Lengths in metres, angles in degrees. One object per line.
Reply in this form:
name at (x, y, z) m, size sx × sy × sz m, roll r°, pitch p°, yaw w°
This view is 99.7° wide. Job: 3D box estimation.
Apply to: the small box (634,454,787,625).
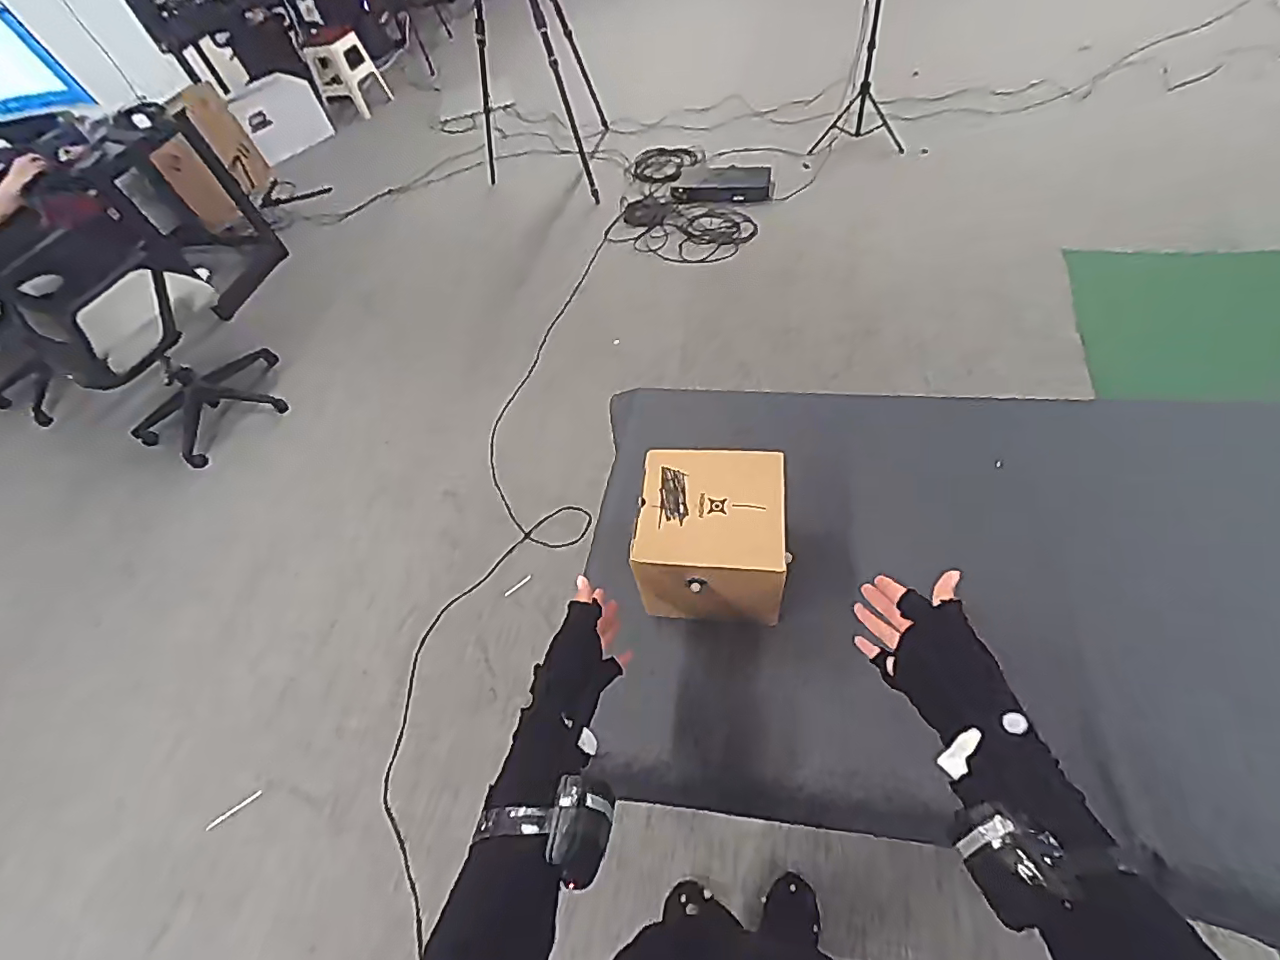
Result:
small box at (0.100, 0.082, 0.717) m, size 0.179 × 0.176 × 0.168 m, roll 2°, pitch 55°, yaw 11°
